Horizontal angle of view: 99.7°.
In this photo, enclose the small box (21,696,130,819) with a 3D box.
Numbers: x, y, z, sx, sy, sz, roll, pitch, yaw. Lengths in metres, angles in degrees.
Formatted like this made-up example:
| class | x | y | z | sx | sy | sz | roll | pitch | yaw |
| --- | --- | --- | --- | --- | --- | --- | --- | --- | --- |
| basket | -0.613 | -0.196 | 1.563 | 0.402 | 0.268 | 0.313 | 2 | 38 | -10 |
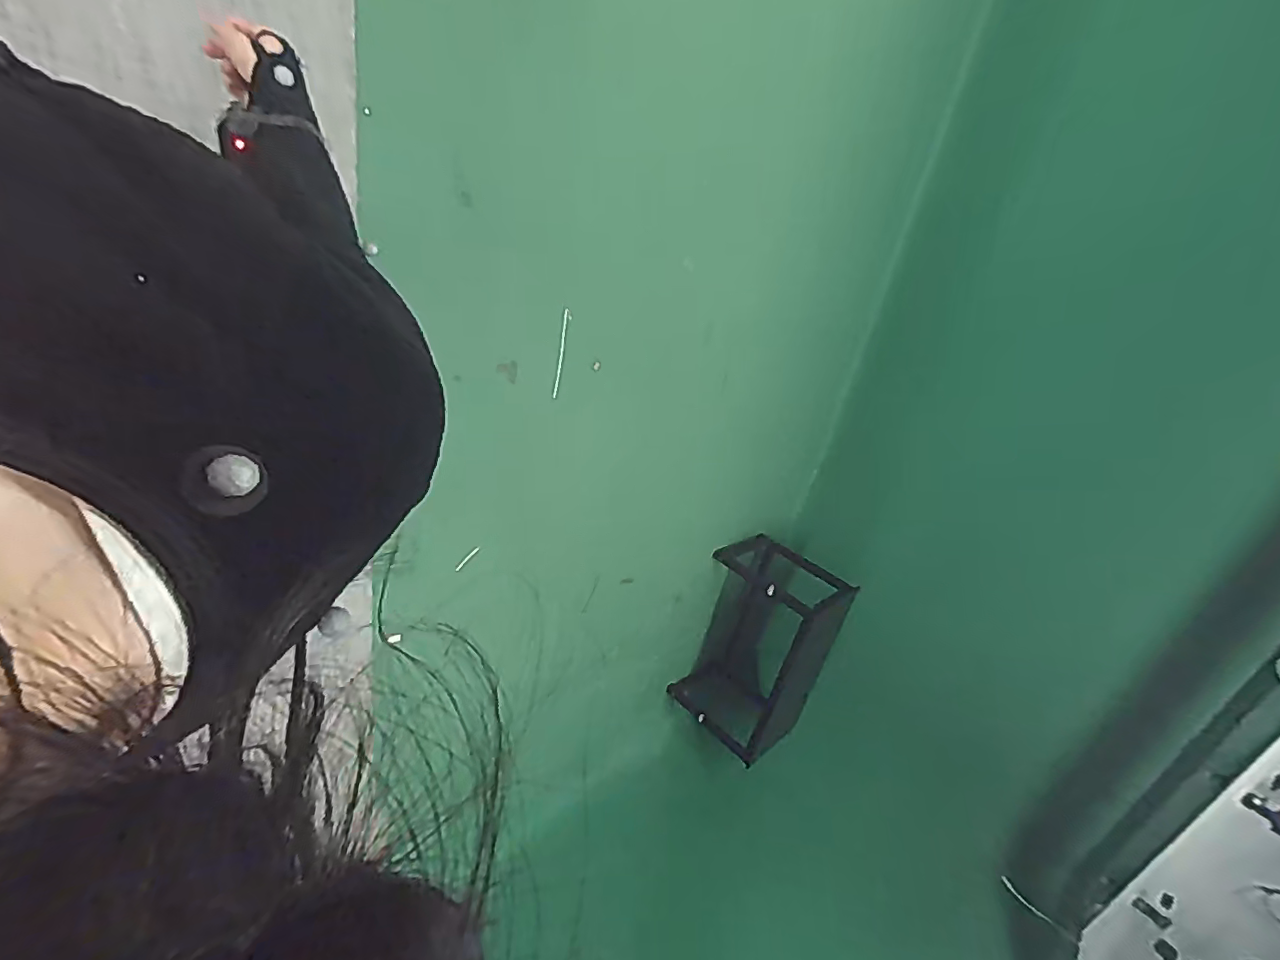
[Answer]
| class | x | y | z | sx | sy | sz | roll | pitch | yaw |
| --- | --- | --- | --- | --- | --- | --- | --- | --- | --- |
| small box | -1.343 | 0.645 | 1.289 | 0.168 | 0.176 | 0.179 | -7 | 121 | -46 |
